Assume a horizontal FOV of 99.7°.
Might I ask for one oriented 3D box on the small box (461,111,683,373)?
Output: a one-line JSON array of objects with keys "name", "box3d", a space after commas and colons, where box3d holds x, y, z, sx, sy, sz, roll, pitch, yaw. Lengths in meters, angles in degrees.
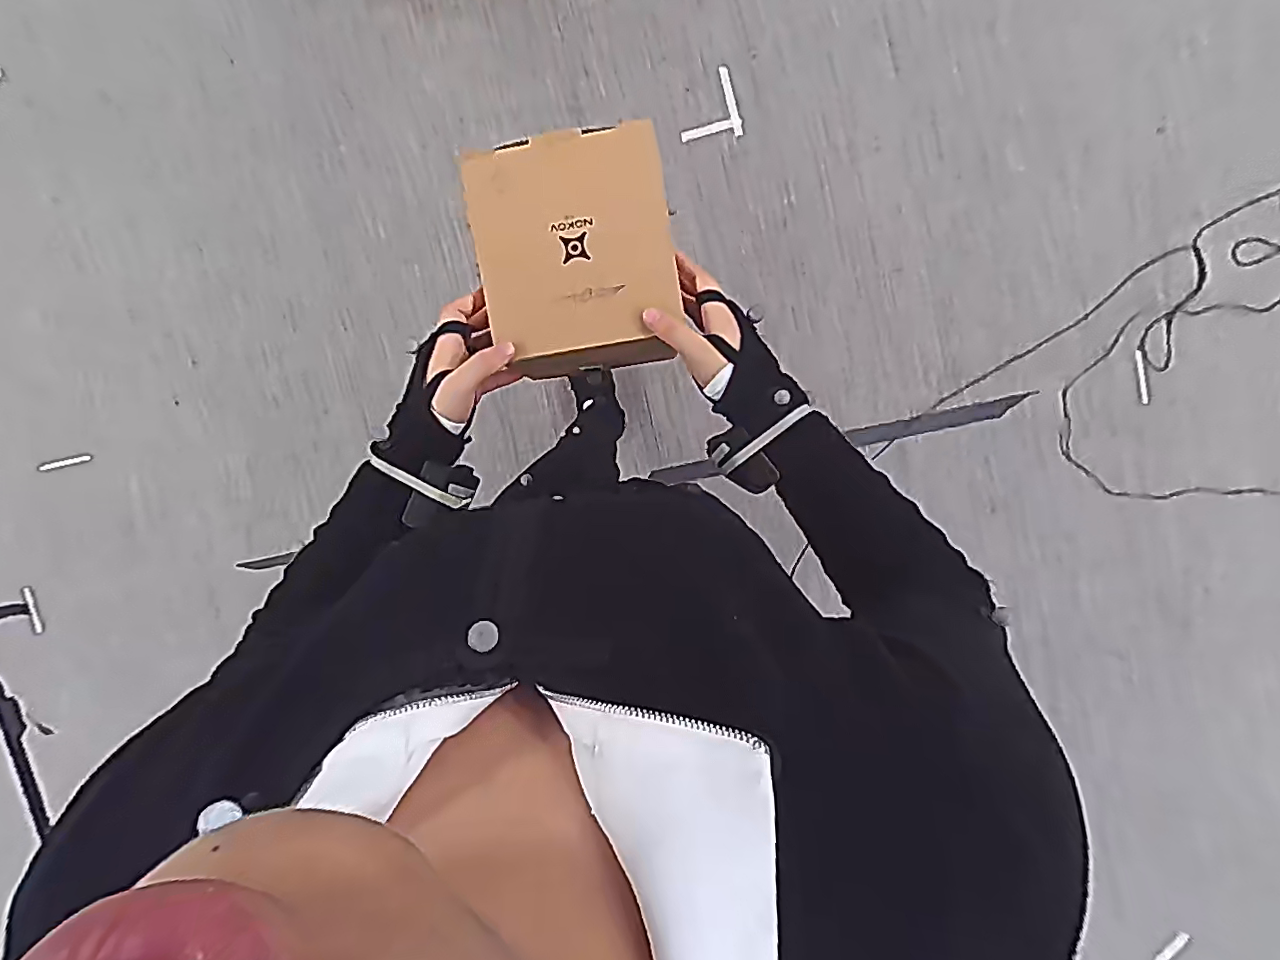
[{"name": "small box", "box3d": [-0.056, -0.211, 0.529, 0.168, 0.176, 0.179, -9, 95, 2]}]
